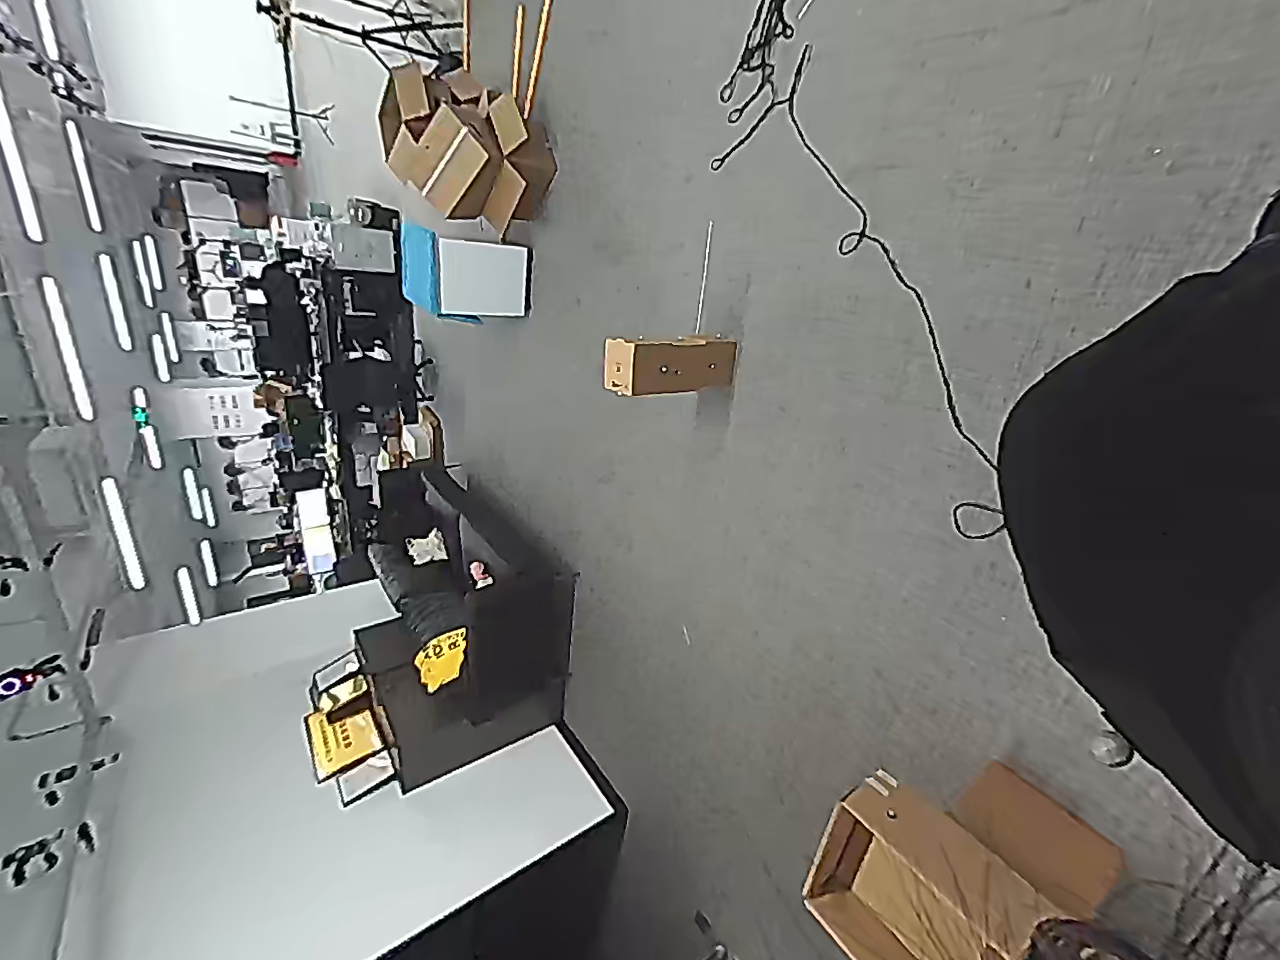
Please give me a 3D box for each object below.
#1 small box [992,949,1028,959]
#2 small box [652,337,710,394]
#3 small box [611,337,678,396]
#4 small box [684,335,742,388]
[{"bbox_3d":[0.743,1.080,1.059,0.179,0.176,0.168,35,126,46],"label":"small box"},{"bbox_3d":[0.139,-0.426,1.992,0.168,0.176,0.179,30,122,46],"label":"small box"},{"bbox_3d":[0.016,-0.400,1.886,0.168,0.176,0.179,28,120,48],"label":"small box"},{"bbox_3d":[0.273,-0.460,2.081,0.168,0.176,0.179,31,122,47],"label":"small box"}]
